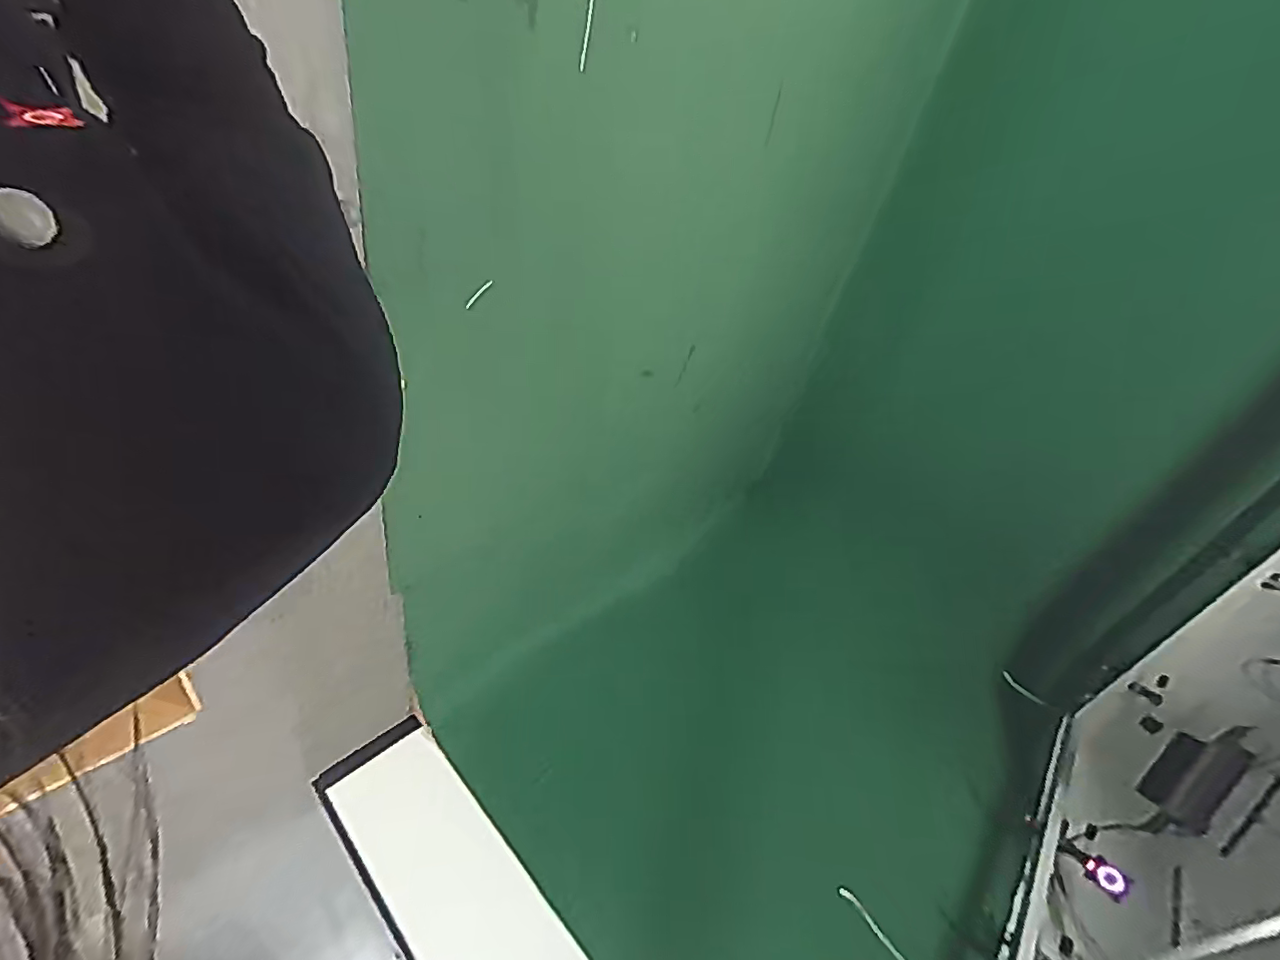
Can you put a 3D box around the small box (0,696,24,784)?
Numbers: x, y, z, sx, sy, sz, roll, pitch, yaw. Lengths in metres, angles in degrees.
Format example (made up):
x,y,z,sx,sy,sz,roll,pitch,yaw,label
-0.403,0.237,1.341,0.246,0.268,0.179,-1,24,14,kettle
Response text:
x,y,z,sx,sy,sz,roll,pitch,yaw,label
-1.091,0.395,0.802,0.168,0.176,0.179,-33,147,-37,small box
